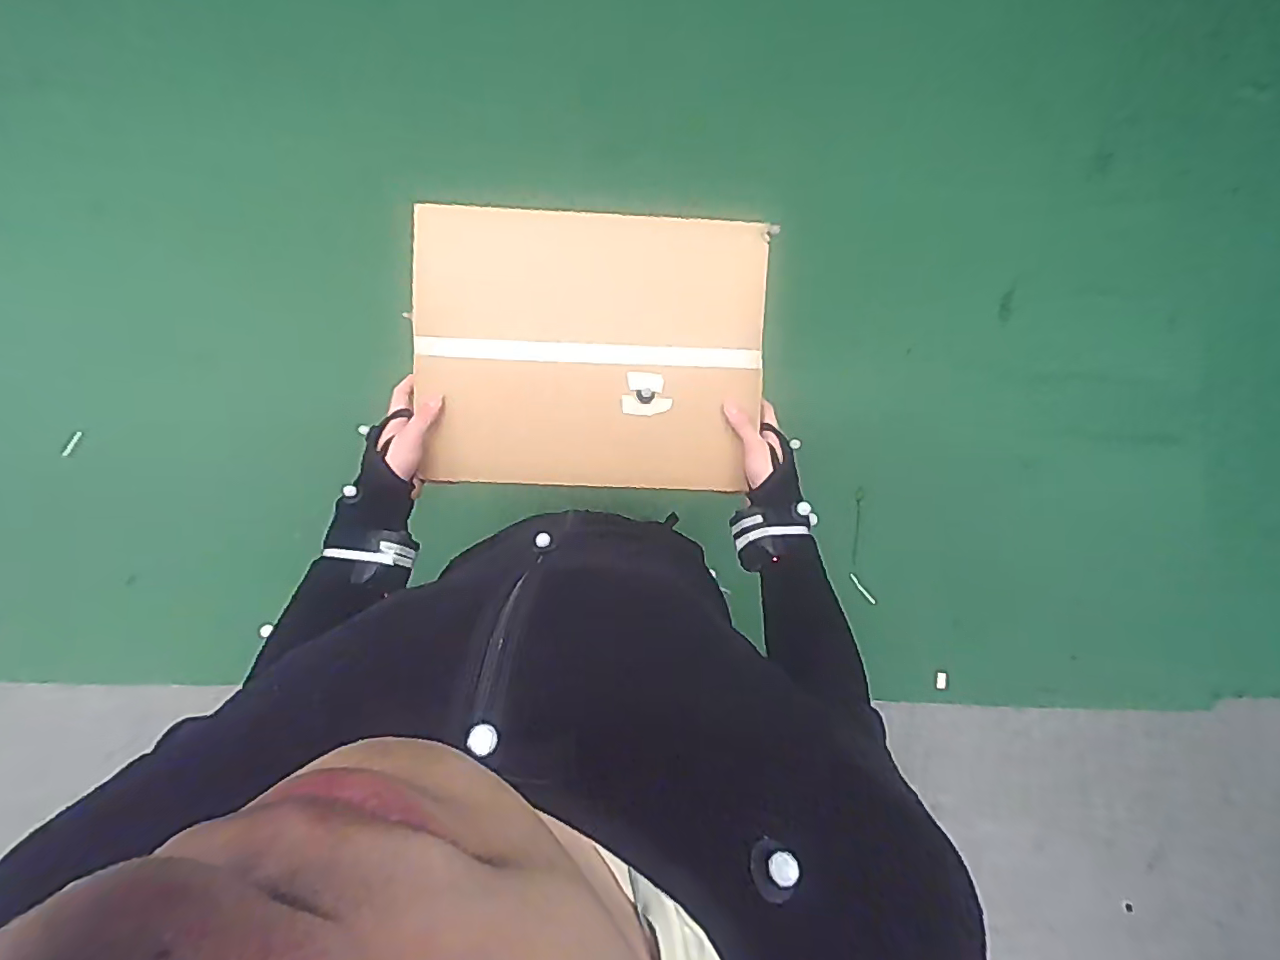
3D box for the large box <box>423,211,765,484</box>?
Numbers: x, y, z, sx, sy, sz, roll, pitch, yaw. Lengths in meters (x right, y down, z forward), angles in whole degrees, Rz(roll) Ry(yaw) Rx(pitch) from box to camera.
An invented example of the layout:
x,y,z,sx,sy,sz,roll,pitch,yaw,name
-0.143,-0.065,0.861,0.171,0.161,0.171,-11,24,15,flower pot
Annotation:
x,y,z,sx,sy,sz,roll,pitch,yaw,name
-0.063,-0.165,0.787,0.408,0.320,0.320,1,96,-3,large box
